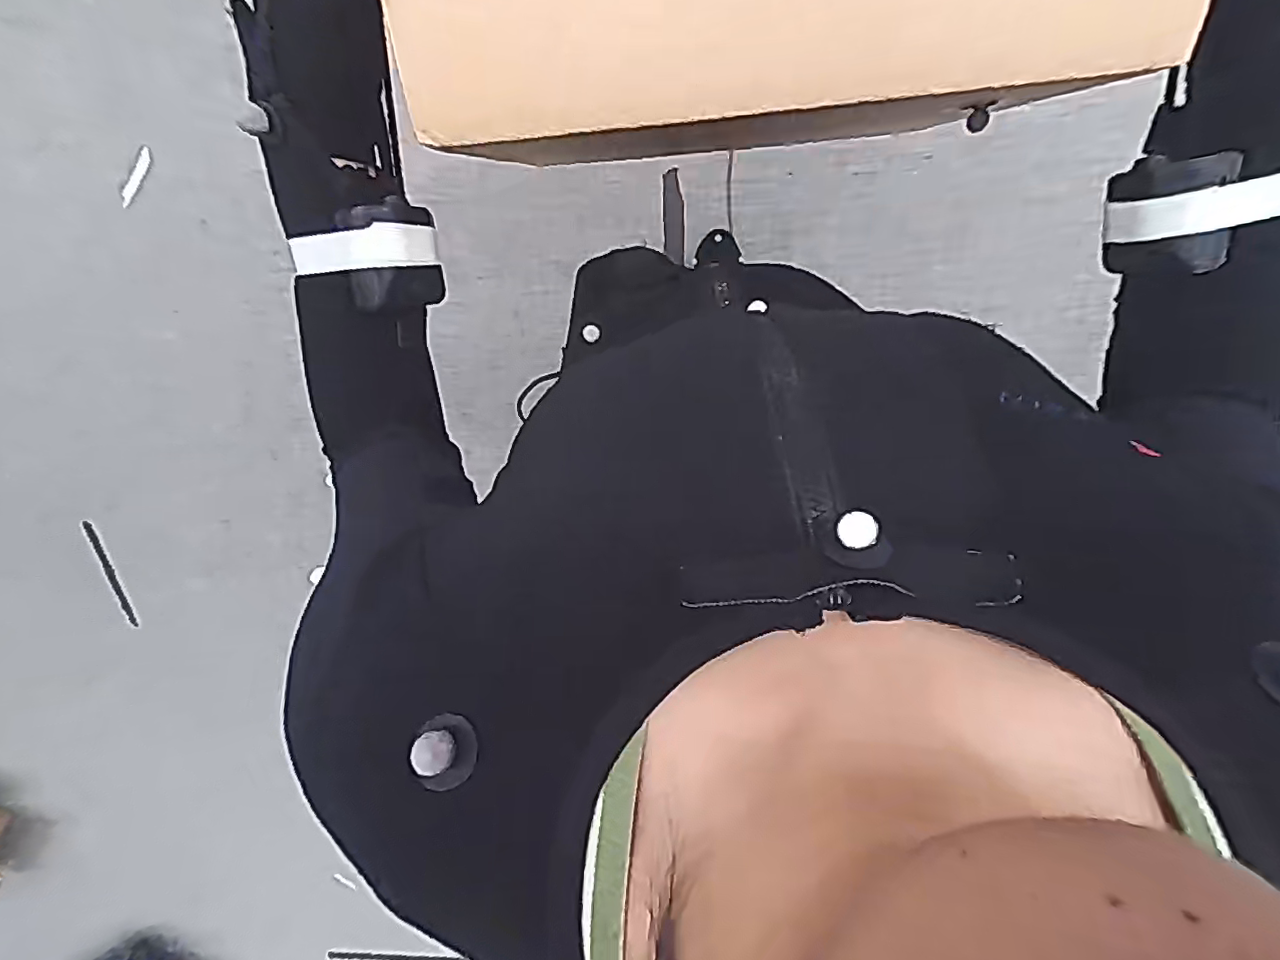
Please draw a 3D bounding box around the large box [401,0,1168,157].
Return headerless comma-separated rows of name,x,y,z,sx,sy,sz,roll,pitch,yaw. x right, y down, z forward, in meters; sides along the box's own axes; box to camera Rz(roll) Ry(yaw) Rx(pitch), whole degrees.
large box,0.069,-0.416,0.360,0.408,0.320,0.320,-3,118,5
